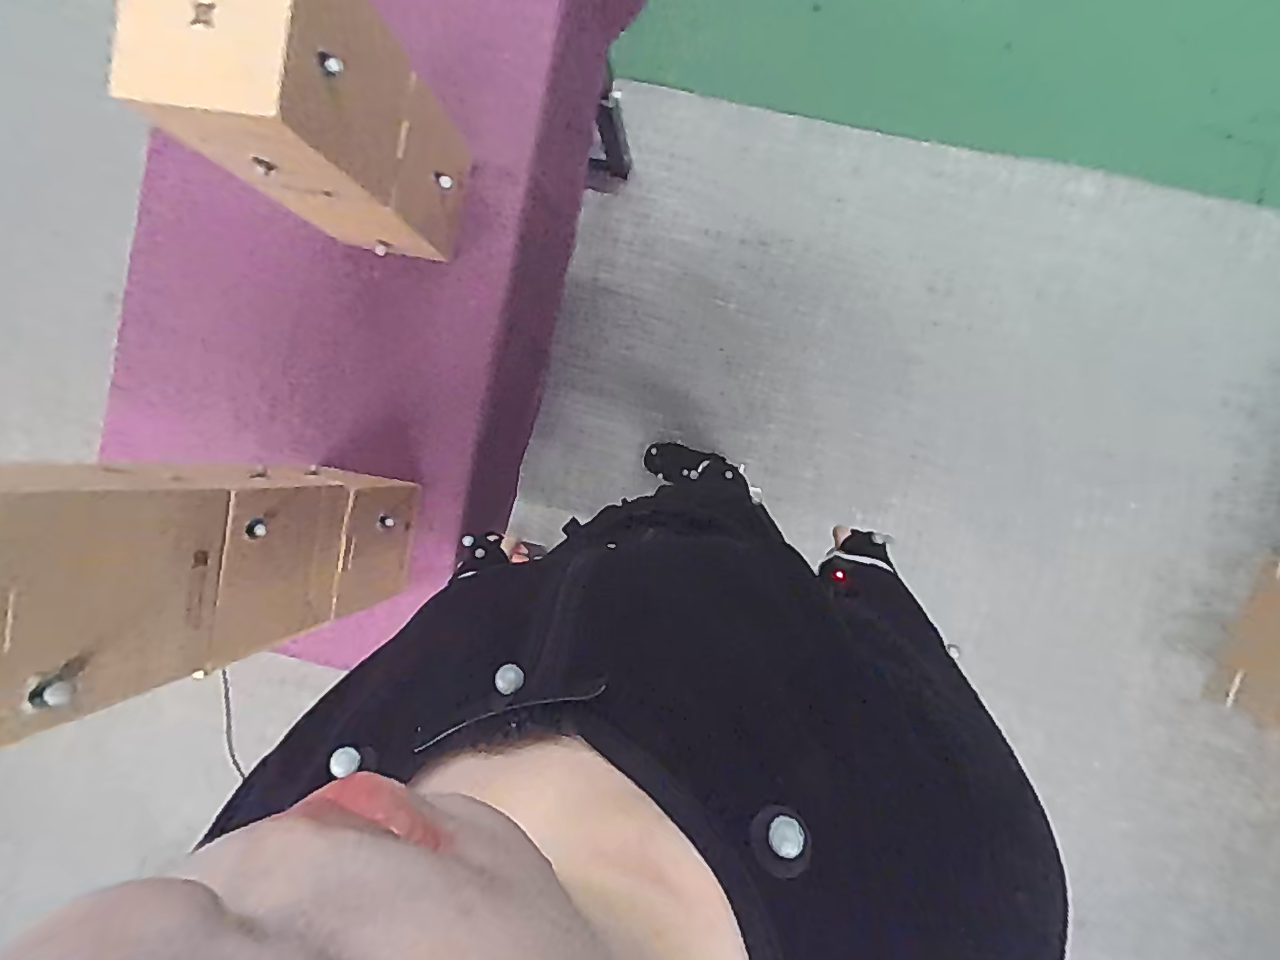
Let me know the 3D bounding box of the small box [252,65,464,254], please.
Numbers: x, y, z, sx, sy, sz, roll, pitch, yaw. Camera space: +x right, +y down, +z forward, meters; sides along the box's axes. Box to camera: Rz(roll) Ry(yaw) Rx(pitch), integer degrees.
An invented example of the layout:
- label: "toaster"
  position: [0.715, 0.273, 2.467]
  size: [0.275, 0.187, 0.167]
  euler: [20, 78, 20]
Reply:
- label: "small box"
  position: [-0.353, -0.416, 0.709]
  size: [0.179, 0.176, 0.168]
  euler: [12, 93, 4]

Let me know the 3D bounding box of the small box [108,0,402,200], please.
- label: "small box"
  position: [-0.366, -0.412, 0.544]
  size: [0.168, 0.176, 0.179]
  euler: [11, 93, 5]

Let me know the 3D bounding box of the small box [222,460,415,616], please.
- label: "small box"
  position: [-0.432, 0.067, 0.732]
  size: [0.179, 0.176, 0.168]
  euler: [10, 92, 5]

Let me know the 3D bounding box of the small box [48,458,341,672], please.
- label: "small box"
  position: [-0.448, 0.076, 0.570]
  size: [0.168, 0.176, 0.179]
  euler: [8, 91, 5]
